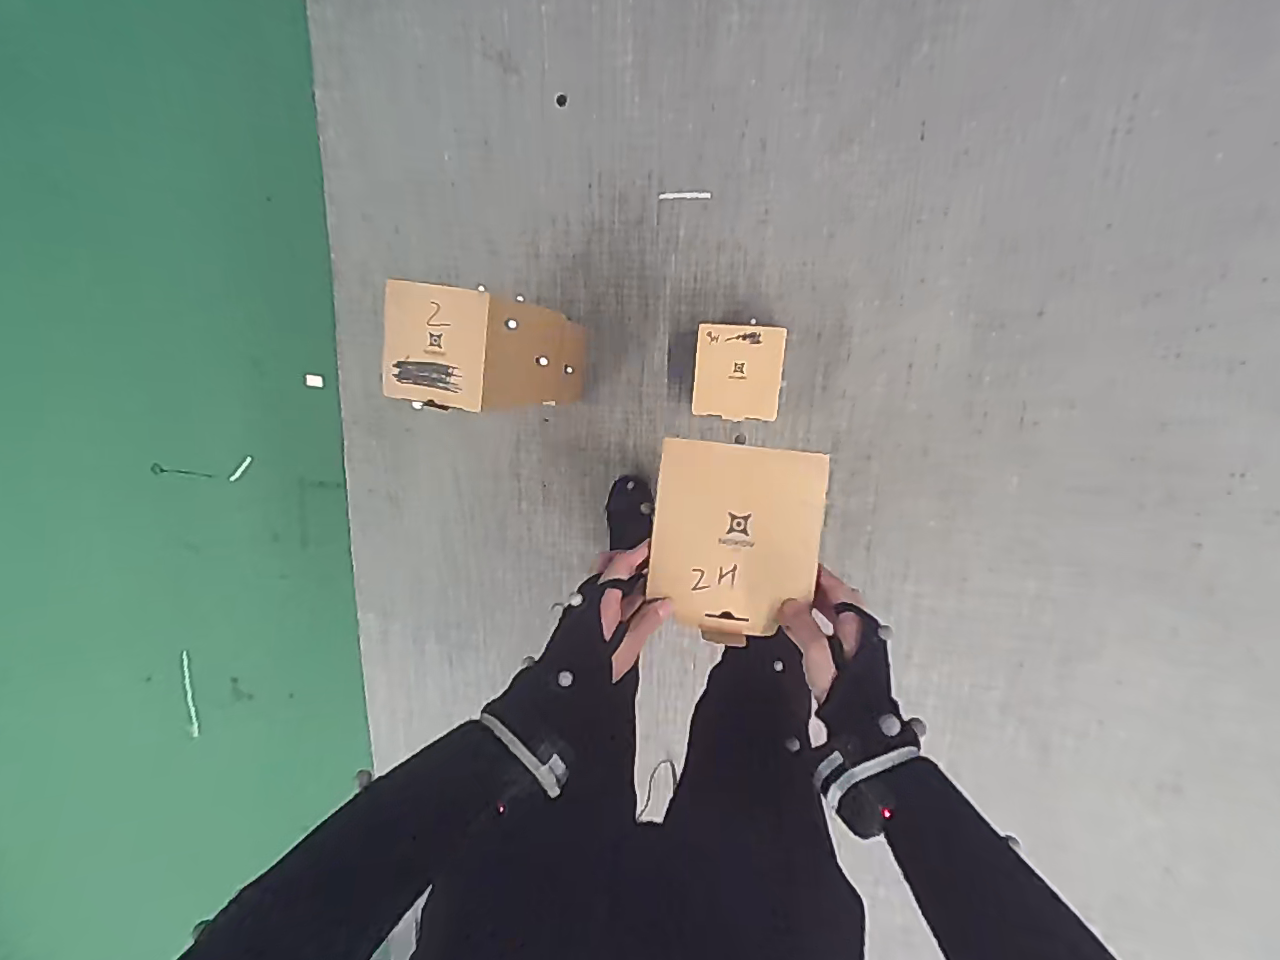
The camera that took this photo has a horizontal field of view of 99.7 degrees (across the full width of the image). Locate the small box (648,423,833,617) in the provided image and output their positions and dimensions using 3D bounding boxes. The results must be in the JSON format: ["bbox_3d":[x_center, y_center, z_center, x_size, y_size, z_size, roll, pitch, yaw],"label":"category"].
[{"bbox_3d":[0.102,0.038,0.619,0.168,0.176,0.179,8,92,2],"label":"small box"}]

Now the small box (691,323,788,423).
[{"bbox_3d":[0.205,-0.221,1.106,0.168,0.176,0.179,8,104,11],"label":"small box"}]

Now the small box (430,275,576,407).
[{"bbox_3d":[-0.254,-0.260,1.038,0.179,0.176,0.168,41,108,2],"label":"small box"}]

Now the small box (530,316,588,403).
[{"bbox_3d":[-0.221,-0.271,1.190,0.168,0.176,0.179,10,102,10],"label":"small box"}]
